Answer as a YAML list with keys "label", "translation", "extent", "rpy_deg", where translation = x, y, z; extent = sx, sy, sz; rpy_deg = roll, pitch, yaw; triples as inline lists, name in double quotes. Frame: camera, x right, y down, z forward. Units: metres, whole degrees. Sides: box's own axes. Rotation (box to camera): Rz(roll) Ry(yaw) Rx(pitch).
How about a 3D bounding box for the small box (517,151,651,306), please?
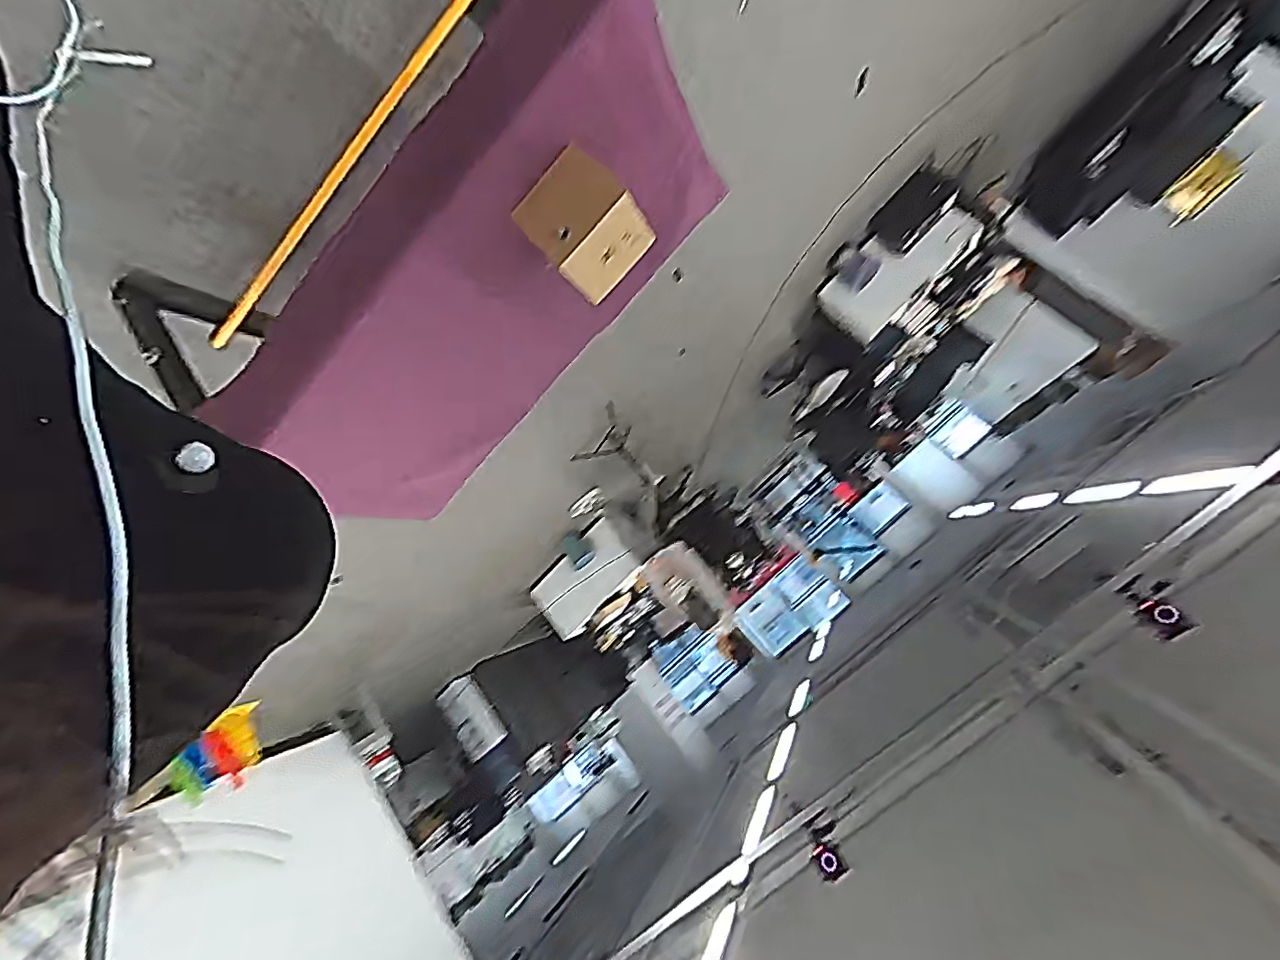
- label: "small box"
  translation: [-0.114, -0.486, 1.056]
  extent: [0.179, 0.176, 0.168]
  rpy_deg: [-45, 162, 10]
